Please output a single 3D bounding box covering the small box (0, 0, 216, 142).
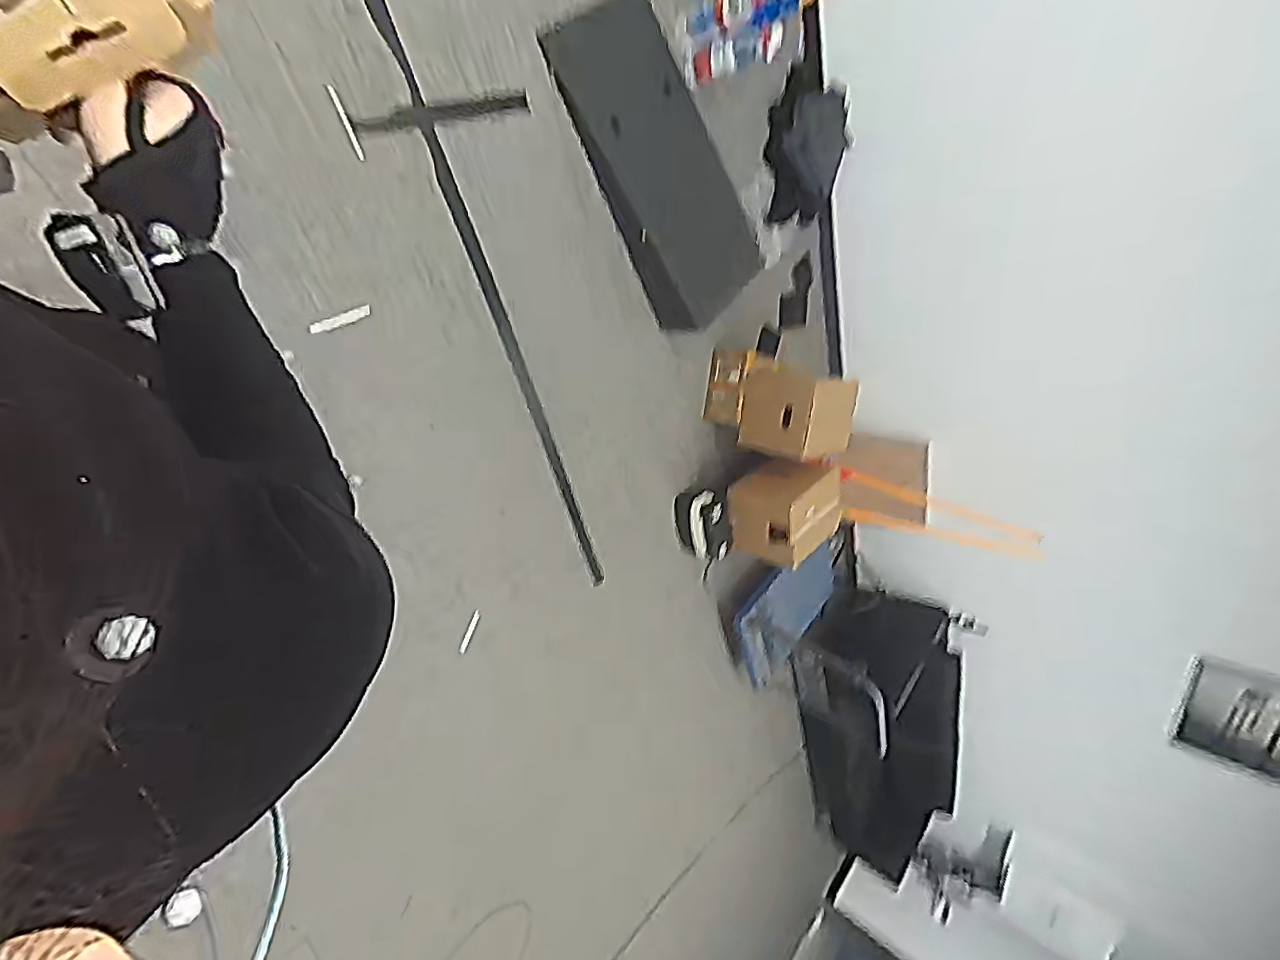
[{"bbox_3d":[-0.407,-0.333,0.328,0.168,0.176,0.179,-45,131,-16],"label":"small box"}]
